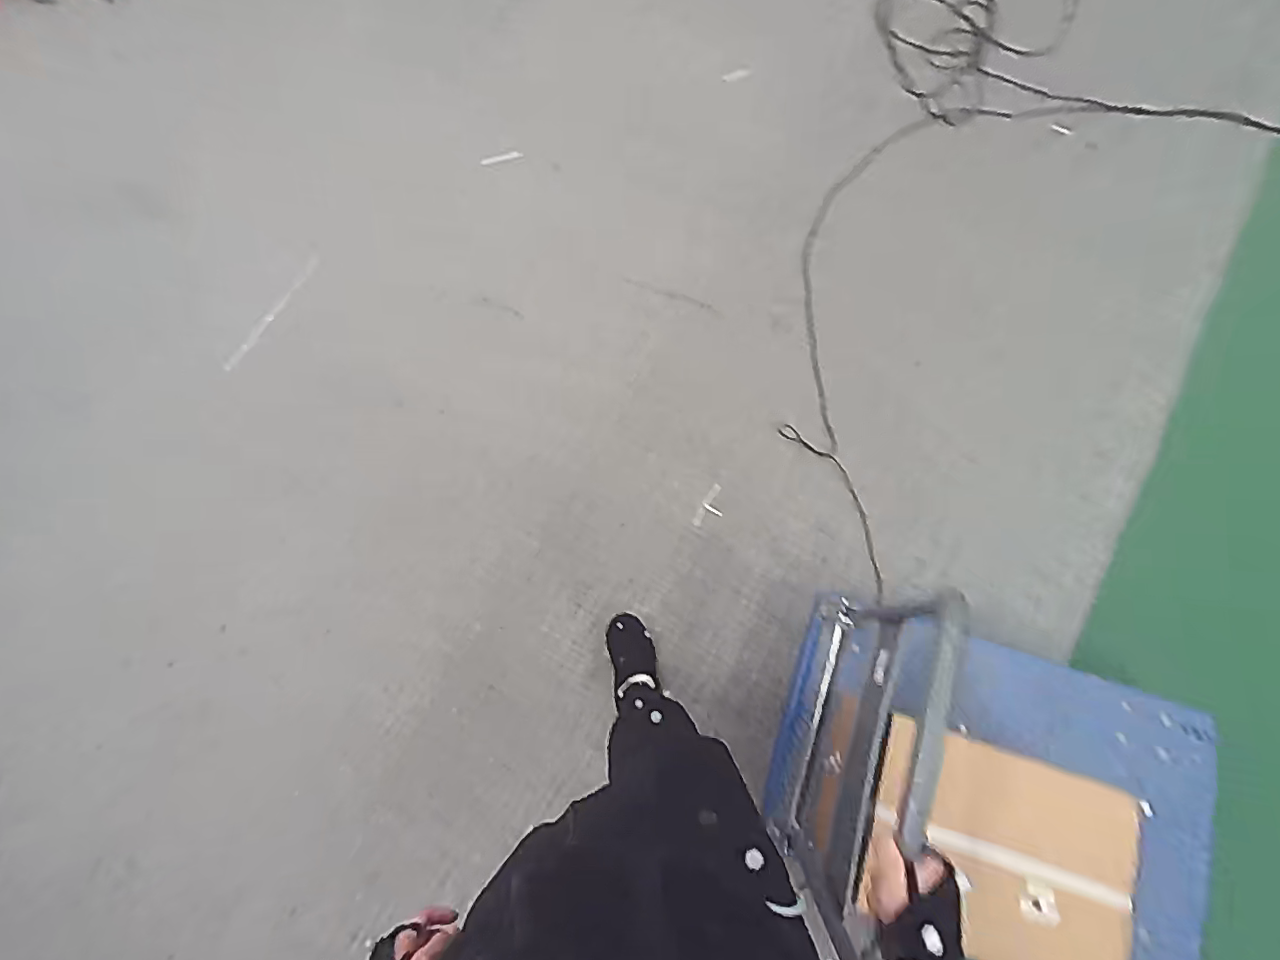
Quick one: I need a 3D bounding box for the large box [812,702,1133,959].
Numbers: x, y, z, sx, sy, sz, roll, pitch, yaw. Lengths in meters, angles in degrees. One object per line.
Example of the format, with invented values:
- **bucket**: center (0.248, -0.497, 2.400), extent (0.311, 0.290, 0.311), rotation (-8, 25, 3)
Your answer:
- **large box**: center (0.589, 0.652, 1.026), extent (0.408, 0.320, 0.320), rotation (18, 77, 7)
